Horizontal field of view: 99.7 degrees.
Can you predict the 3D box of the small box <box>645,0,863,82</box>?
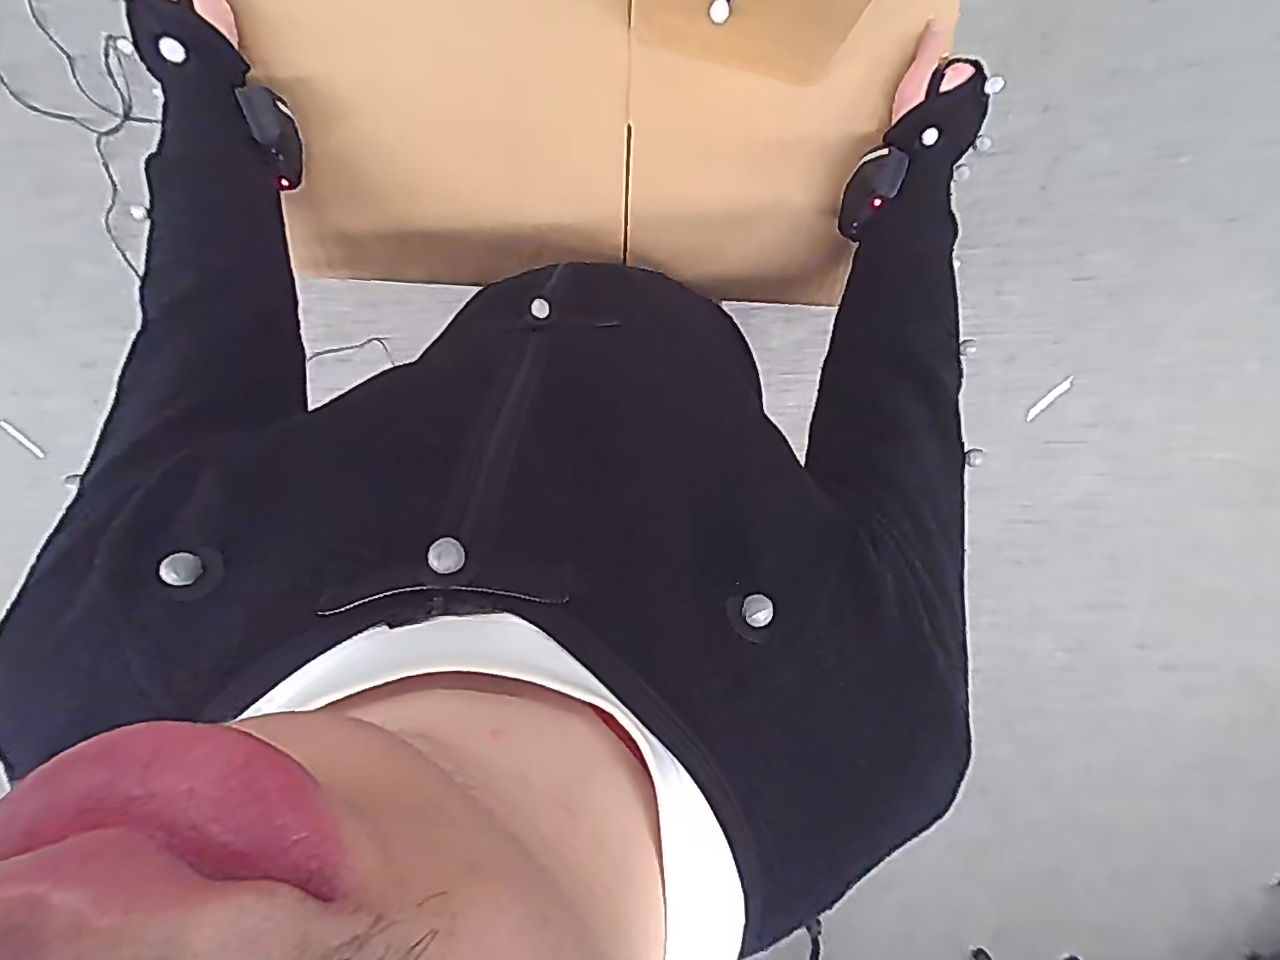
[{"bbox_3d":[0.103,-0.449,0.418,0.179,0.176,0.168,14,106,-2],"label":"small box"}]
